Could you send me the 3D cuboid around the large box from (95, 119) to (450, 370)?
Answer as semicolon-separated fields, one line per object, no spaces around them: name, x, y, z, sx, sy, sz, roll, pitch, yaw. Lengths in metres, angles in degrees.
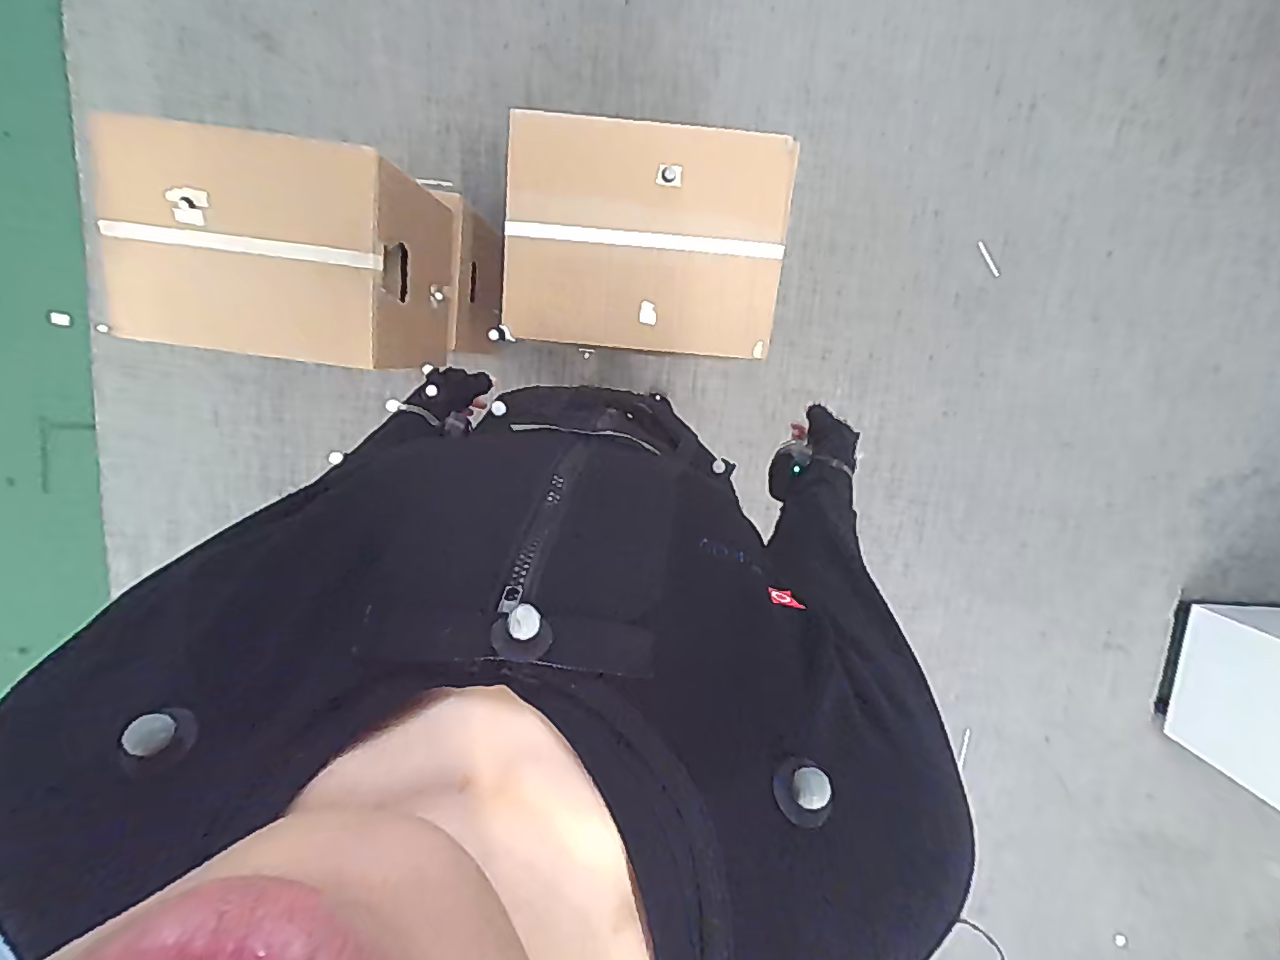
large box;-0.579;-0.372;0.935;0.408;0.320;0.320;7;102;0
